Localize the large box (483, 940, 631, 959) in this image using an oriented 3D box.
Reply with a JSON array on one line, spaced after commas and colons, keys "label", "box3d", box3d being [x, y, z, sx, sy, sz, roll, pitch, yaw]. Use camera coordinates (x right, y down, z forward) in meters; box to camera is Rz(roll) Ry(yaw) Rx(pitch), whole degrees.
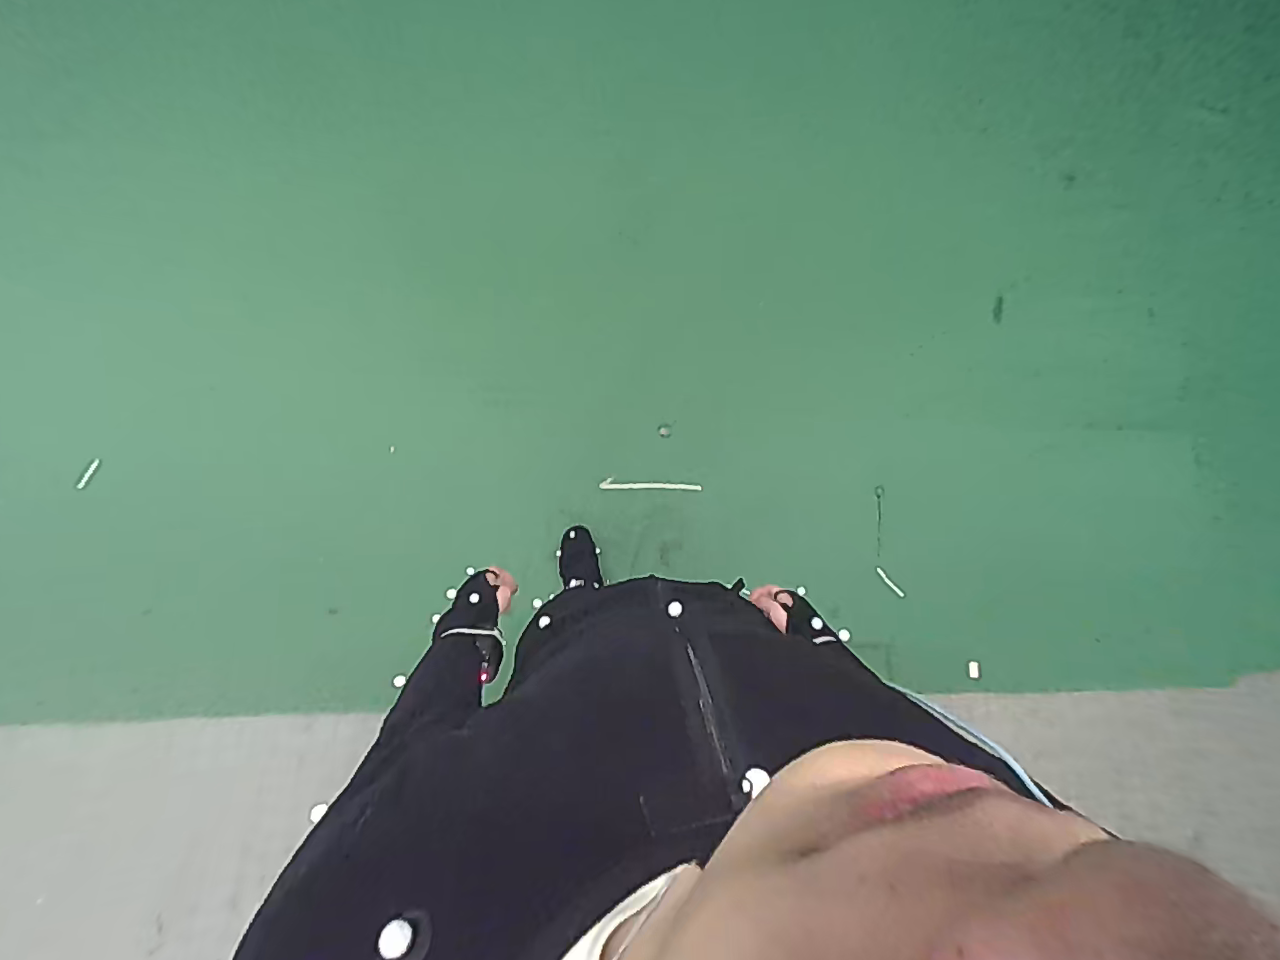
[{"label": "large box", "box3d": [-0.210, 1.408, 1.317, 0.408, 0.320, 0.320, -1, 83, -6]}]
